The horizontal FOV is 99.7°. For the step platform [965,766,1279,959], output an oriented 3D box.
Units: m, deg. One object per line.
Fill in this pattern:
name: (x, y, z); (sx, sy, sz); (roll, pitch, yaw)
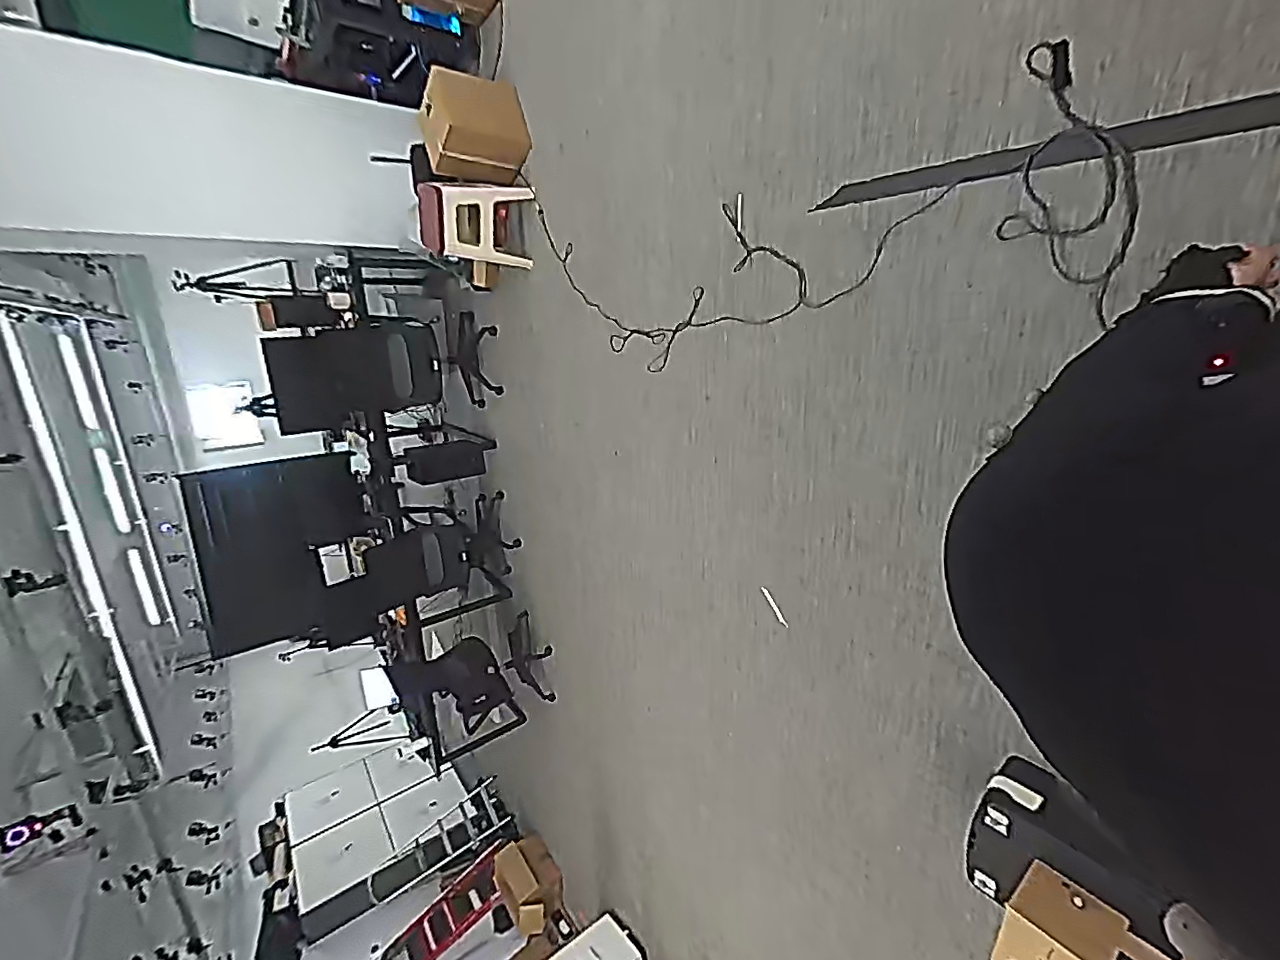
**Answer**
step platform: (1.072, 0.943, 1.126); (0.684, 0.204, 0.286); (19, 117, 50)

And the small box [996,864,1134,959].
small box: (0.870, 0.953, 1.108); (0.168, 0.176, 0.179); (22, 118, 49)
